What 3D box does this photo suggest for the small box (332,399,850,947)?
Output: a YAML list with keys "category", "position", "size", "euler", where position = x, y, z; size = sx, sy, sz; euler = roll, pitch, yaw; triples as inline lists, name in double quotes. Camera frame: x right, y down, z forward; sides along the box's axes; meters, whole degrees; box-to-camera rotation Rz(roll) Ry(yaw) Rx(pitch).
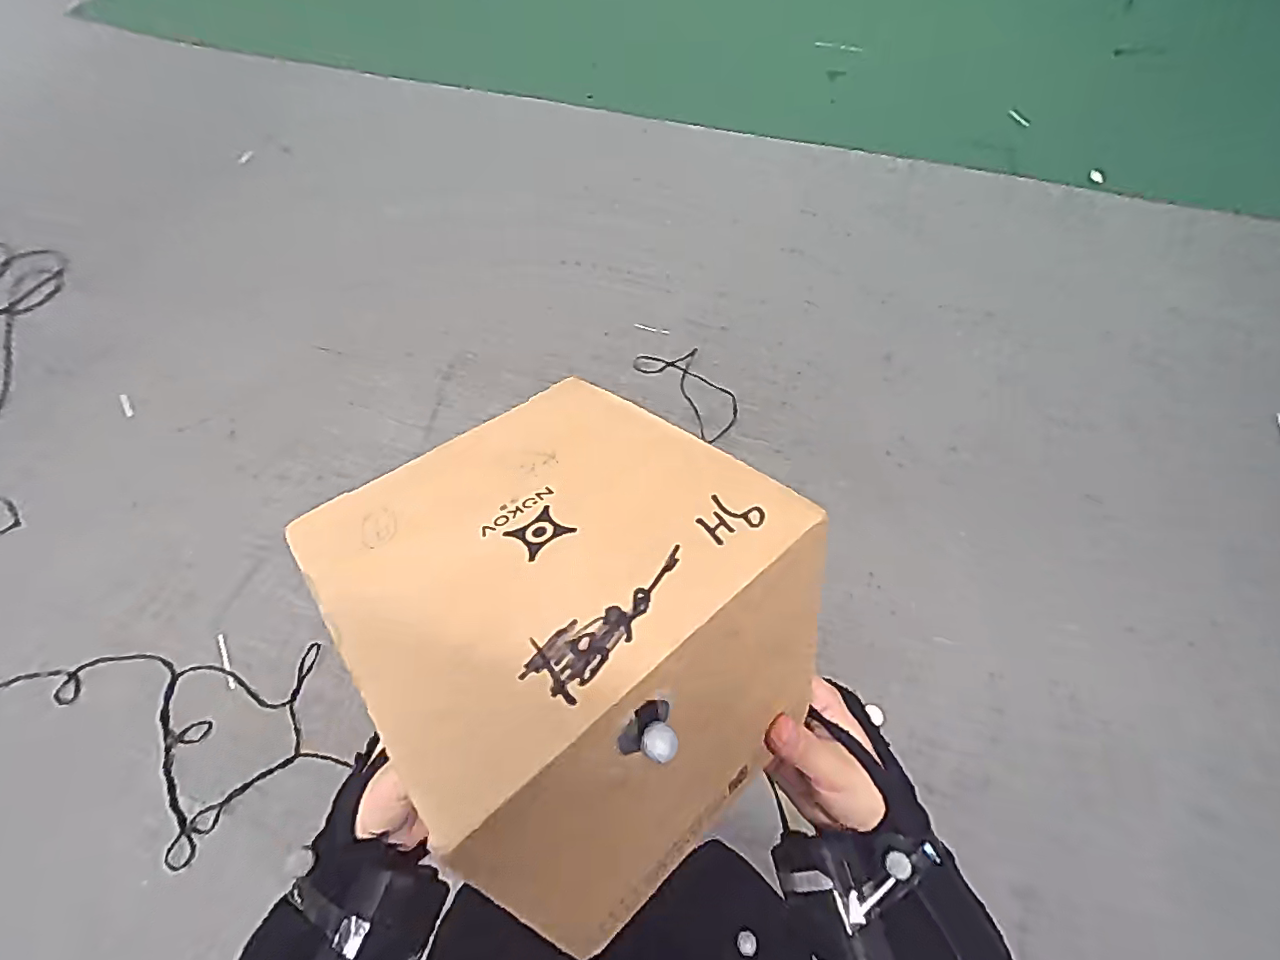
- category: "small box"
  position: [-0.019, 0.088, 0.284]
  size: [0.168, 0.176, 0.179]
  euler: [-35, 45, -24]
